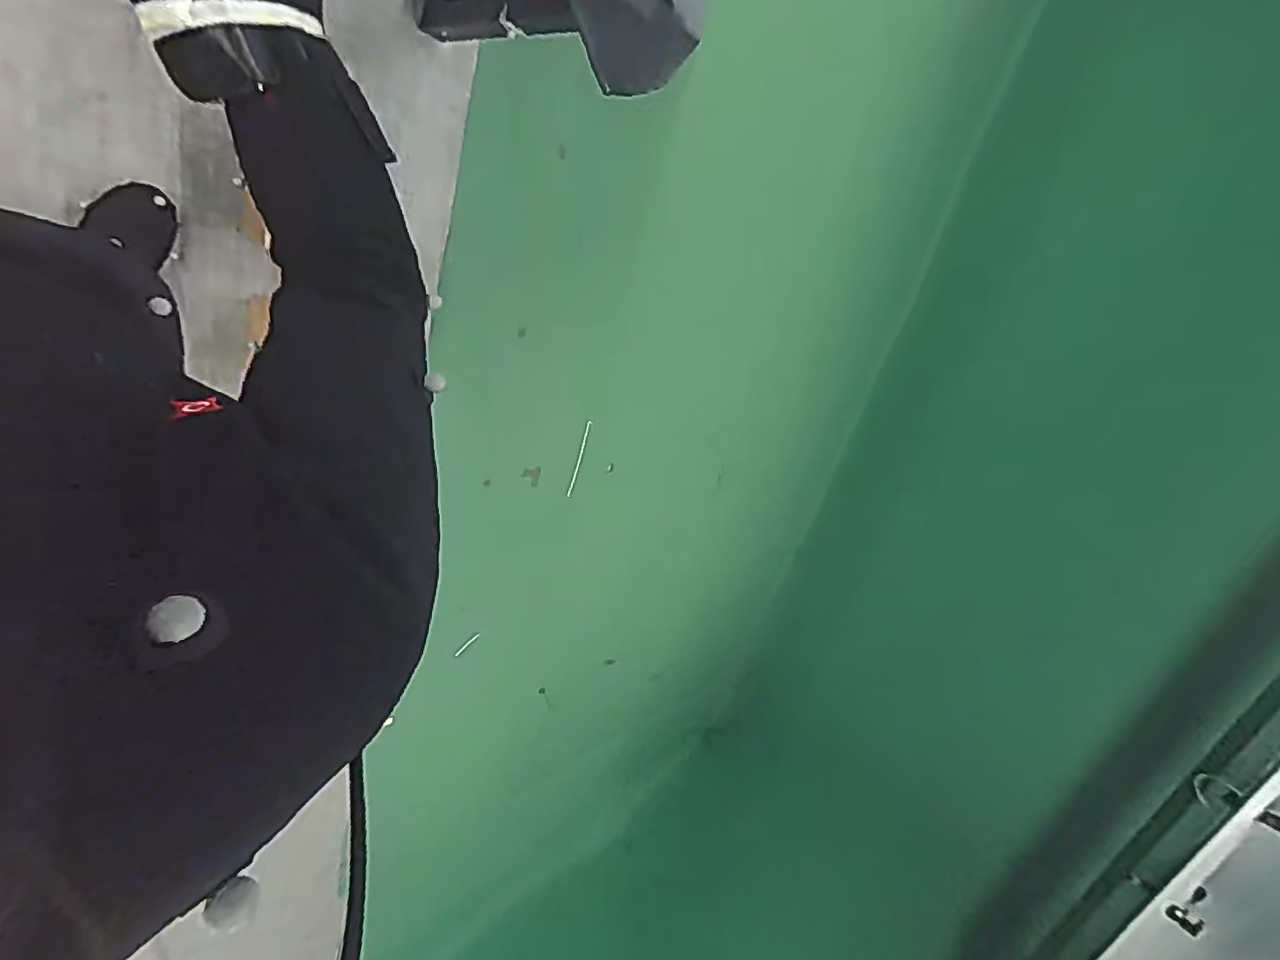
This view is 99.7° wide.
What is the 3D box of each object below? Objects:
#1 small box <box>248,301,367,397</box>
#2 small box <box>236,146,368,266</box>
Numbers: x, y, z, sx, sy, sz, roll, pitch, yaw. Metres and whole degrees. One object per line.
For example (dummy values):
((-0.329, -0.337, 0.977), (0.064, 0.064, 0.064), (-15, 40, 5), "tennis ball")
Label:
((-0.719, -0.274, 1.161), (0.179, 0.176, 0.168), (-3, 119, -48), "small box")
((-0.655, -0.529, 1.047), (0.179, 0.176, 0.168), (-9, 122, -46), "small box")
